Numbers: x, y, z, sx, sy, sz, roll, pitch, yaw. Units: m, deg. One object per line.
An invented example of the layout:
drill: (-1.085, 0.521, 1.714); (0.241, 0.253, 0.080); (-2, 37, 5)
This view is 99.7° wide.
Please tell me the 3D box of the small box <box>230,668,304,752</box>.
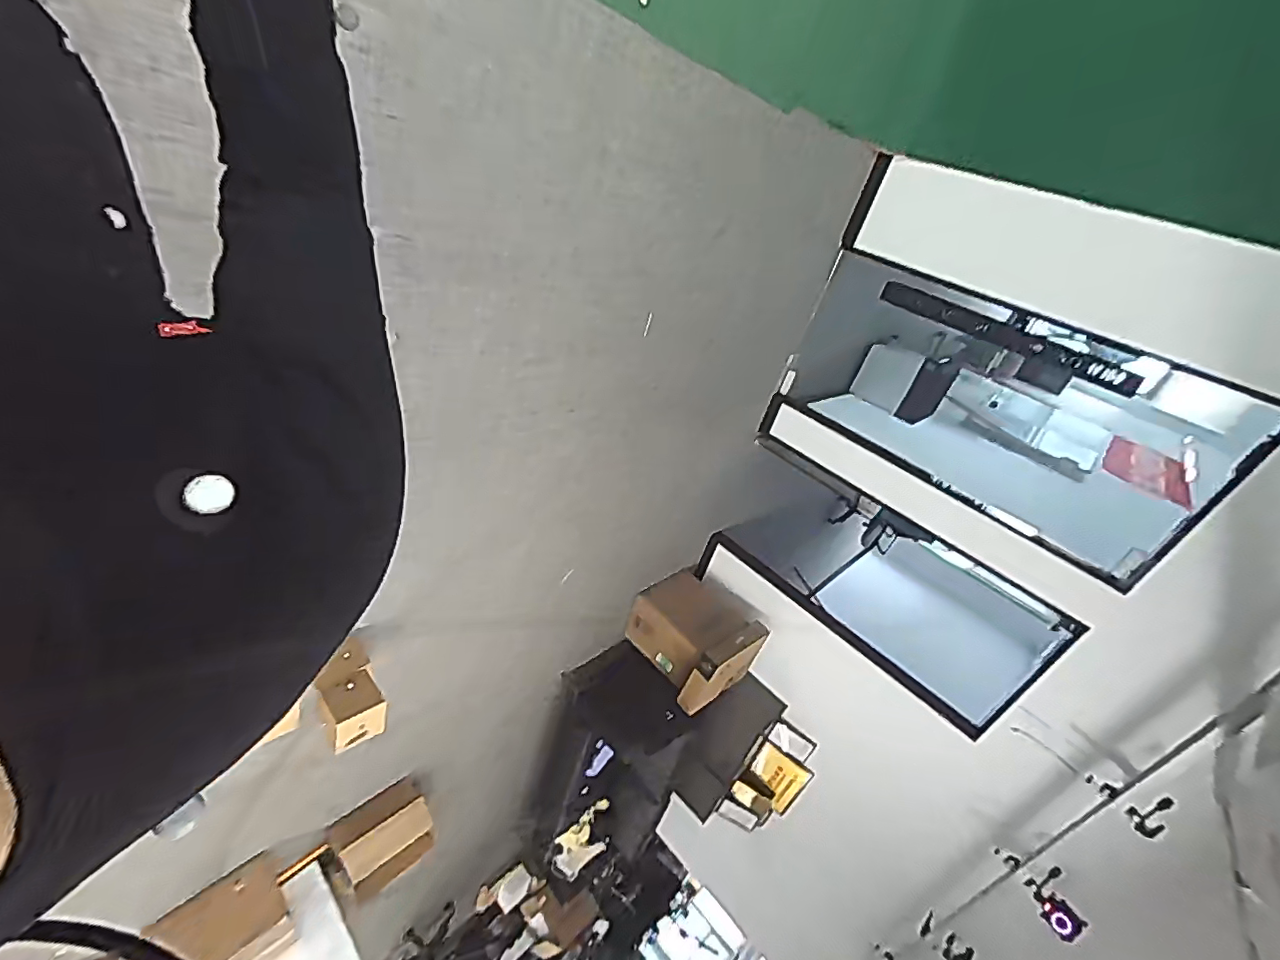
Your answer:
small box: (-1.260, 0.764, 1.823); (0.168, 0.176, 0.179); (-10, 130, -49)

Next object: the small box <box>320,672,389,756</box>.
small box: (-1.007, 0.817, 1.903); (0.168, 0.176, 0.179); (-16, 133, -47)

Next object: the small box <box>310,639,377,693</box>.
small box: (-1.098, 0.718, 2.005); (0.168, 0.176, 0.179); (-23, 139, -42)
